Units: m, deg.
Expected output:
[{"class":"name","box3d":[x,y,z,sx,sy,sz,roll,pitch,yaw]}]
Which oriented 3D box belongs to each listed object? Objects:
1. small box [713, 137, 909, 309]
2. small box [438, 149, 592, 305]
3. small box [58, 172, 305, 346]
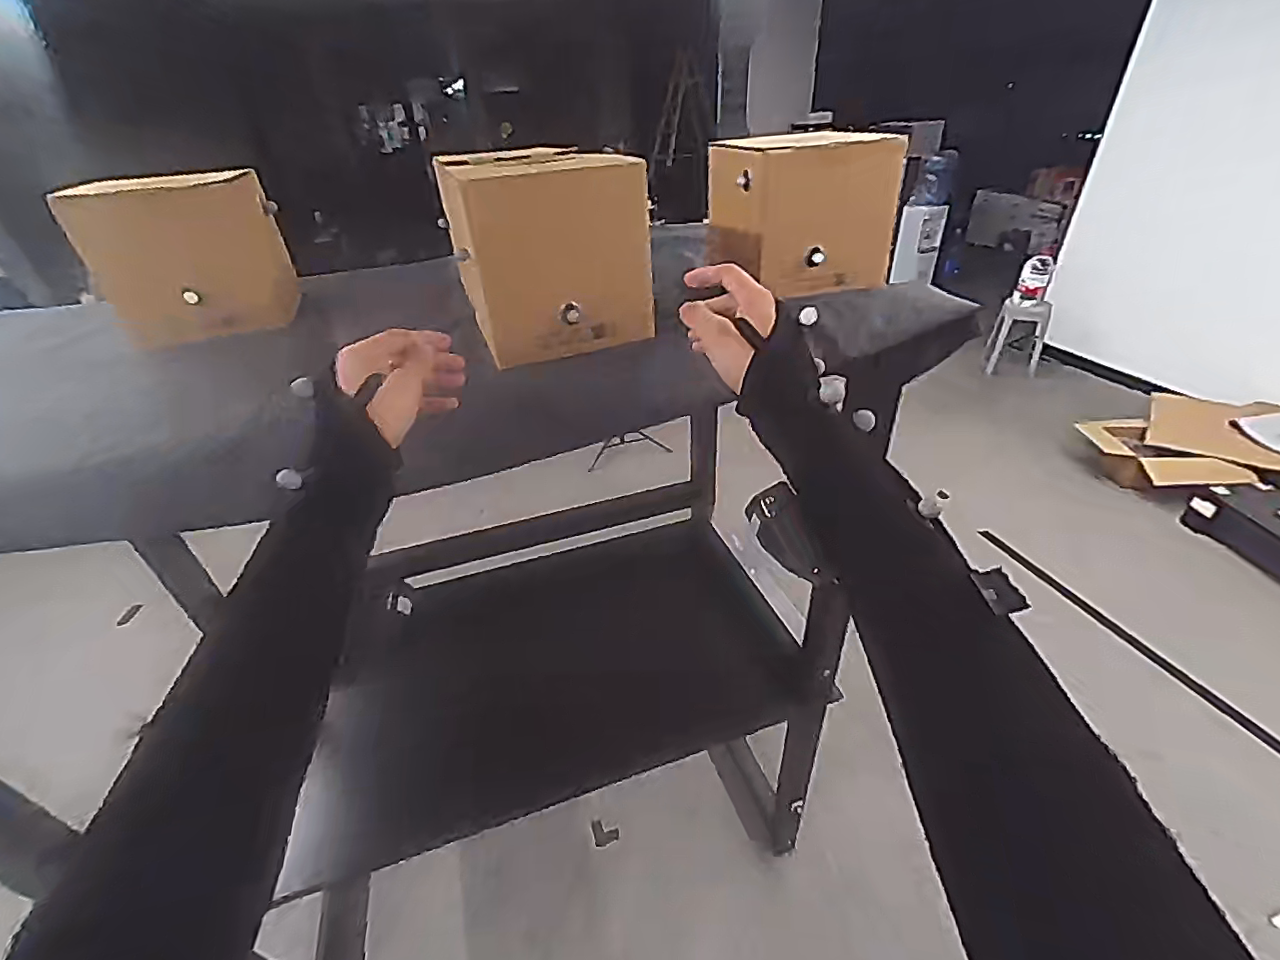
[{"class":"small box","box3d":[0.194,-0.324,0.676,0.168,0.176,0.179,-11,35,-9]},{"class":"small box","box3d":[-0.171,-0.350,0.749,0.168,0.176,0.179,-14,35,-15]},{"class":"small box","box3d":[-0.553,-0.285,0.689,0.168,0.176,0.179,-15,37,-16]}]
